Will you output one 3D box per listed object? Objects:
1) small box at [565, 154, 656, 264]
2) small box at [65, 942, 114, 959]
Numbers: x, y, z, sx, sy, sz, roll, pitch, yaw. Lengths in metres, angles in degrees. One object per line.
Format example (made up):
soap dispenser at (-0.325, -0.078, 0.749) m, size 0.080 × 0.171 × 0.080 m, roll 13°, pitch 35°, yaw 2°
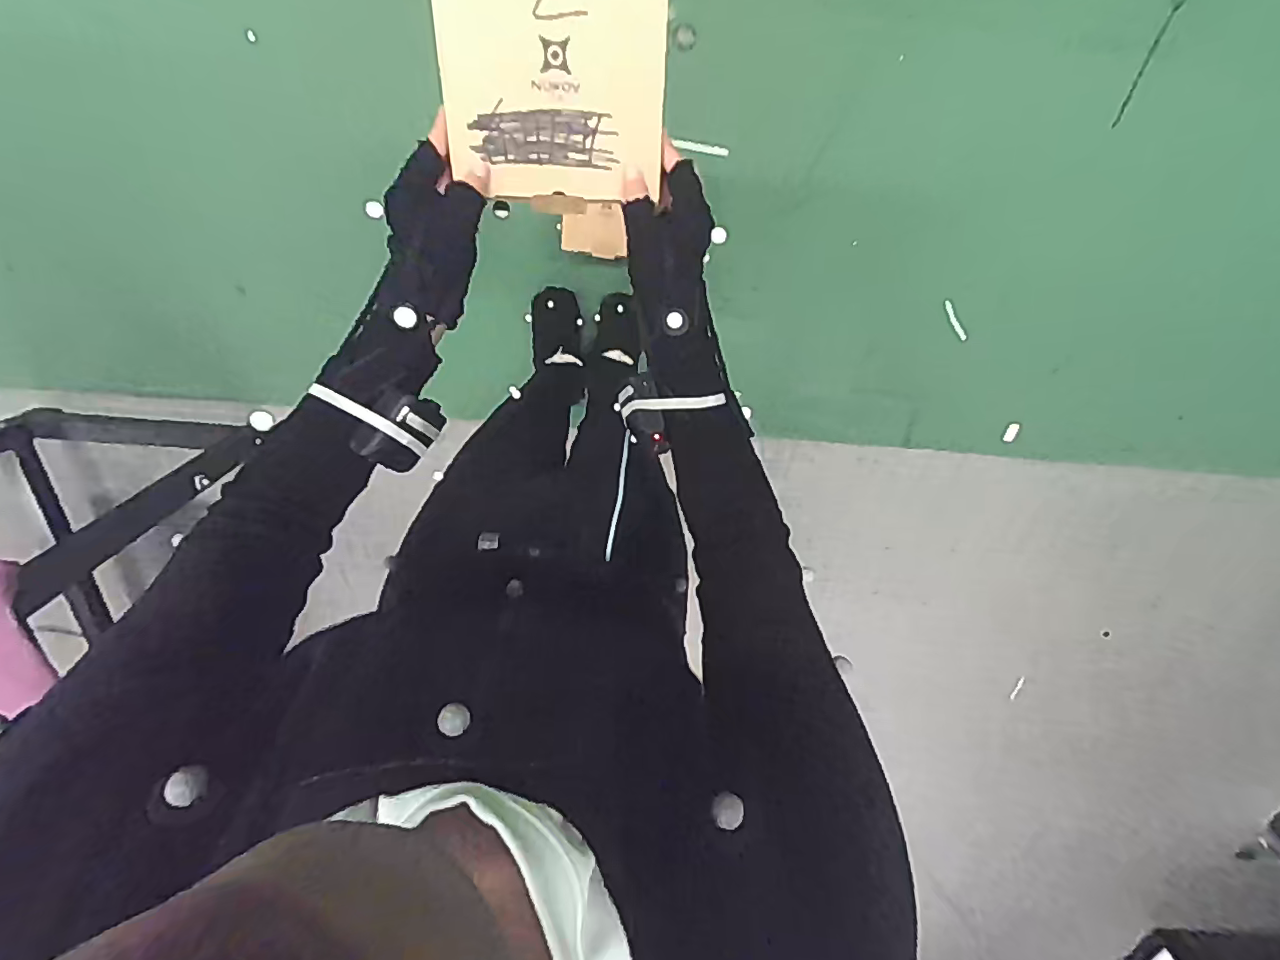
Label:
small box at (-0.062, -0.554, 1.113) m, size 0.168 × 0.176 × 0.179 m, roll 5°, pitch 117°, yaw -3°
small box at (-1.252, 1.094, 1.123) m, size 0.179 × 0.176 × 0.168 m, roll 5°, pitch 117°, yaw -4°
